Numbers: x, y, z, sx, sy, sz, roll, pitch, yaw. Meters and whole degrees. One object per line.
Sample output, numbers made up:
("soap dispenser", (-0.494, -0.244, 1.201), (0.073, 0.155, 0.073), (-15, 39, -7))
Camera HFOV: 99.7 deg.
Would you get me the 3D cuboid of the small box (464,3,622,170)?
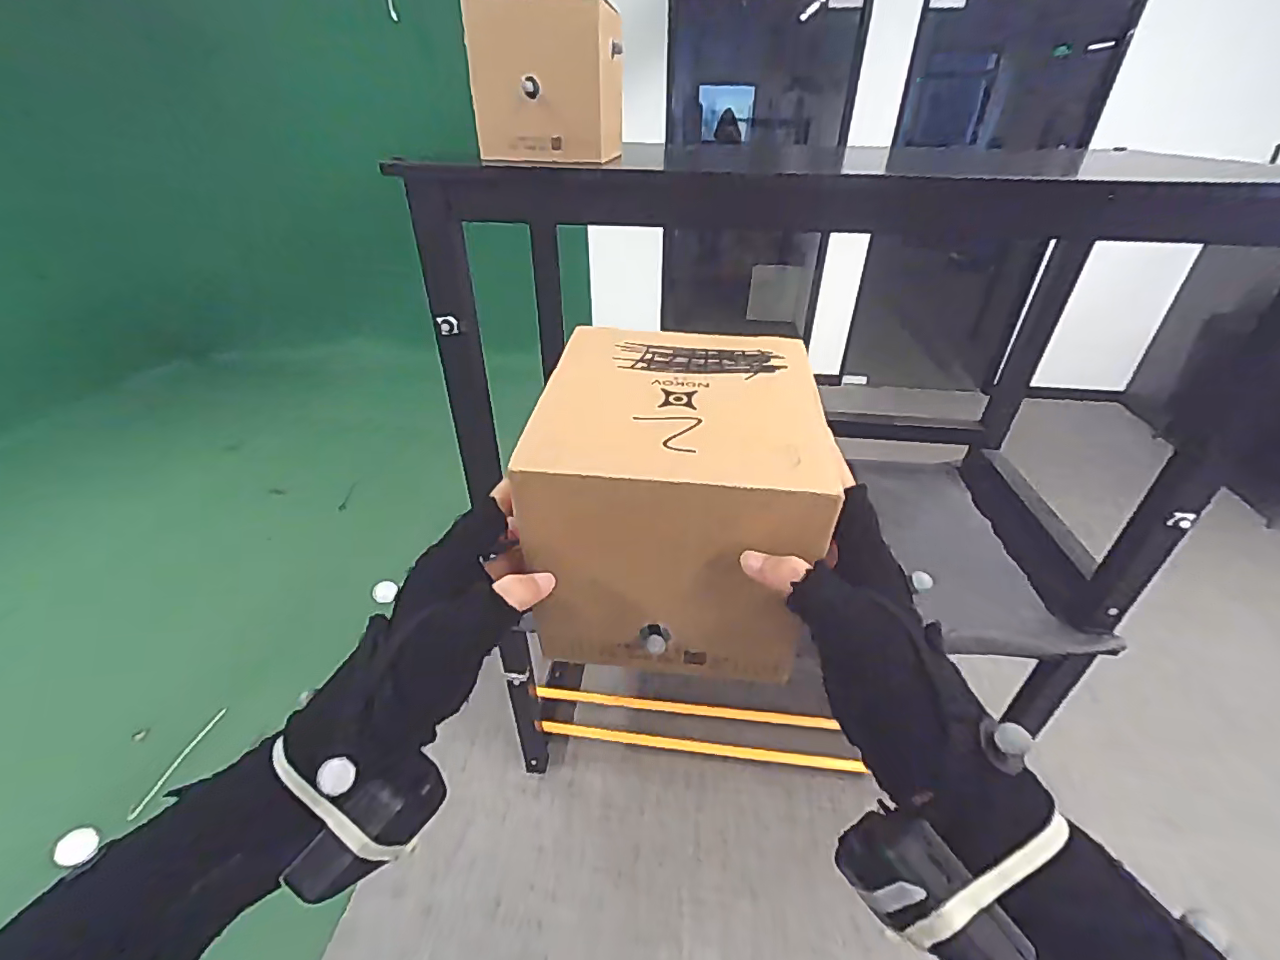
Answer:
("small box", (-0.117, -0.524, 0.737), (0.168, 0.176, 0.179), (5, 34, 5))
